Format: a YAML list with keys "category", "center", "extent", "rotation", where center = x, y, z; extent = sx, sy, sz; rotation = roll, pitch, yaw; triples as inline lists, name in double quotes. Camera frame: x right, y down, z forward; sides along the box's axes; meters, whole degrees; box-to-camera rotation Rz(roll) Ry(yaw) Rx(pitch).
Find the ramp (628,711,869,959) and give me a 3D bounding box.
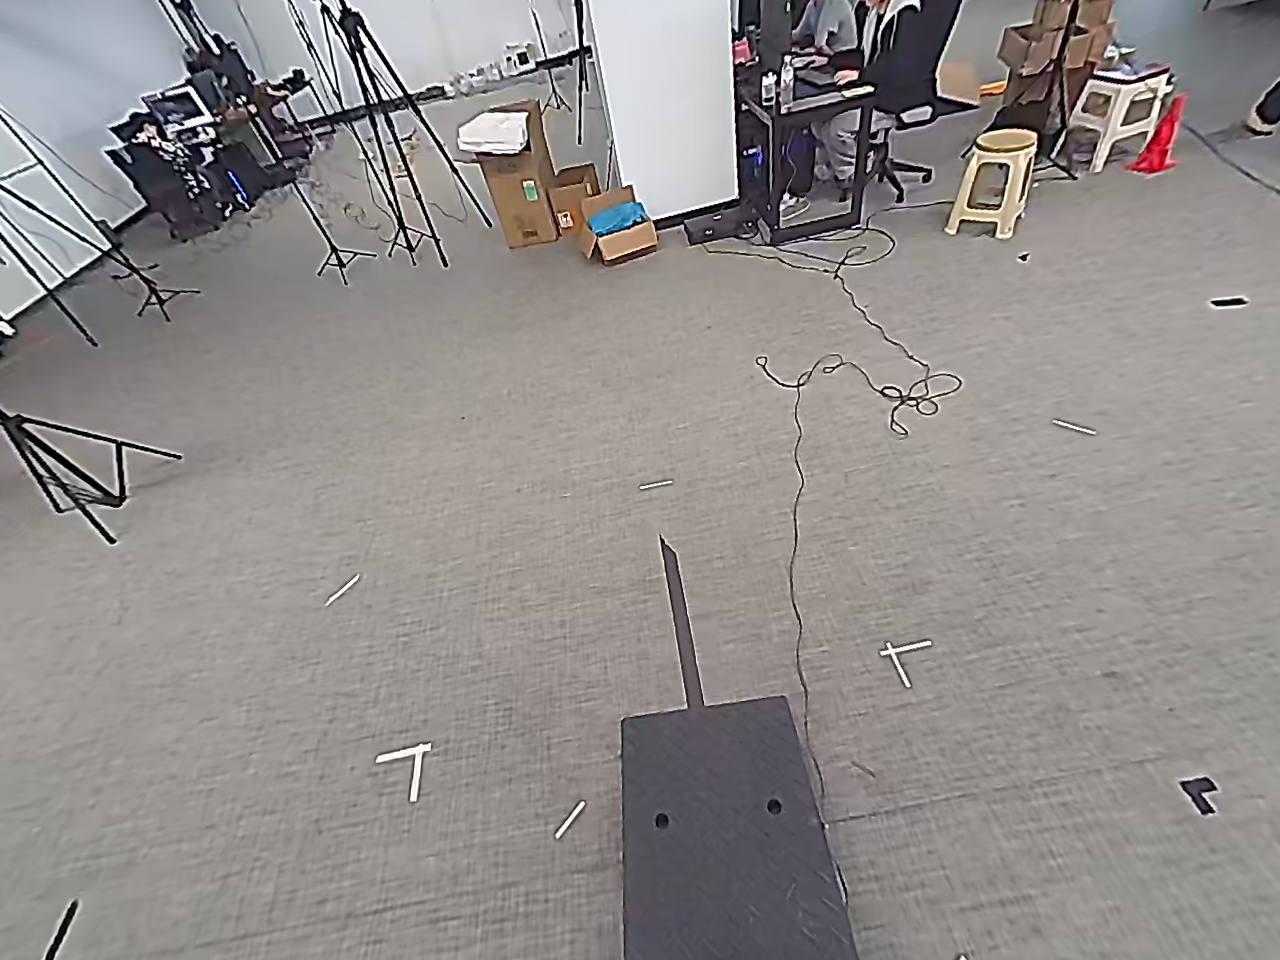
- category: "ramp"
  center: [0.226, 0.995, 1.169]
  extent: [0.509, 0.206, 0.991]
  rotation: [-13, 43, 4]
